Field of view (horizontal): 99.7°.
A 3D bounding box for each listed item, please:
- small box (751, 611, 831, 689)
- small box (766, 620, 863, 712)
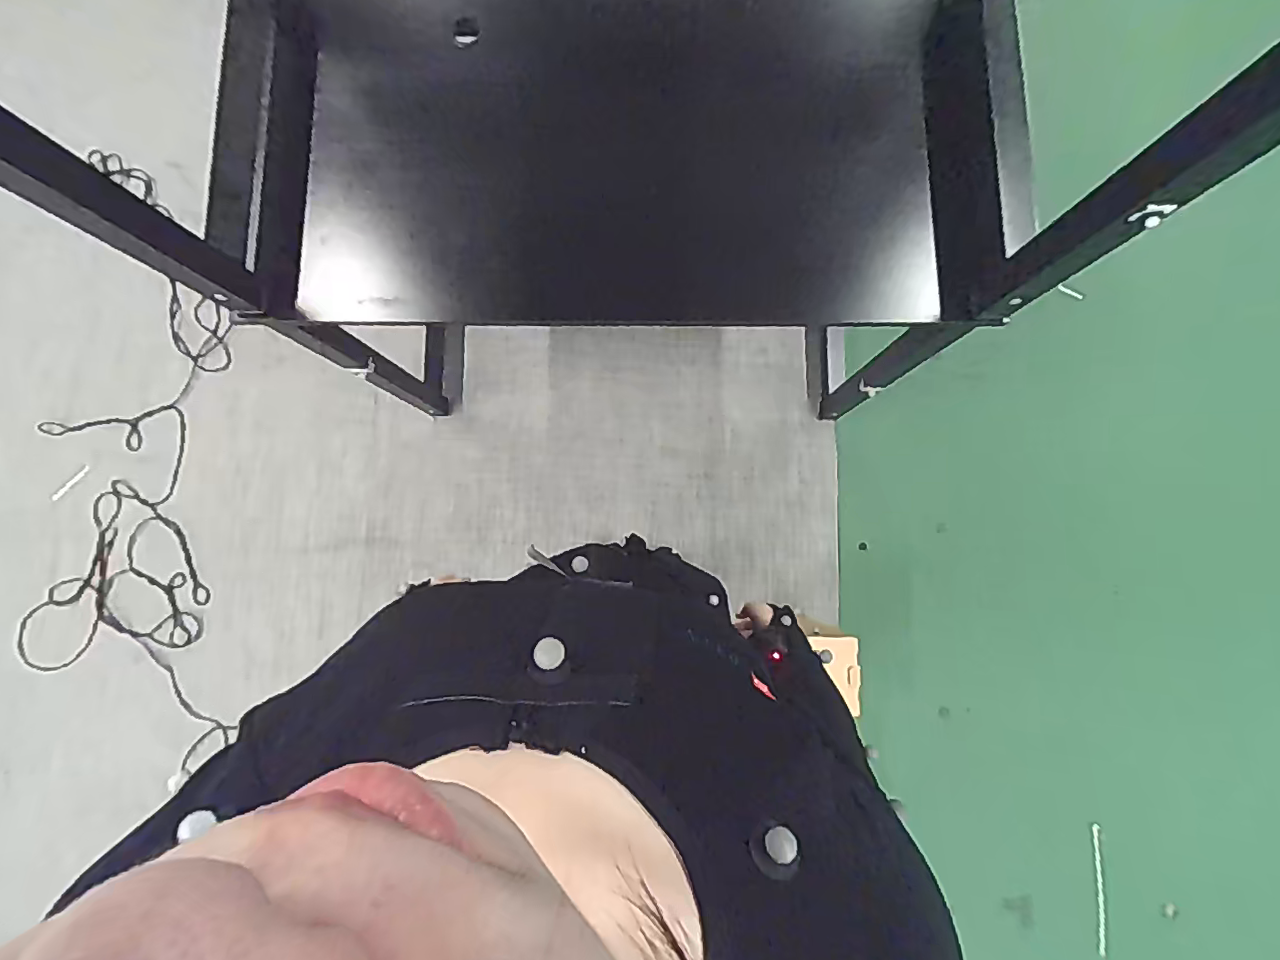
[{"bbox_3d":[0.383,0.432,1.389,0.179,0.176,0.168,-1,84,1],"label":"small box"},{"bbox_3d":[0.386,0.415,1.227,0.179,0.176,0.168,0,84,0],"label":"small box"}]
